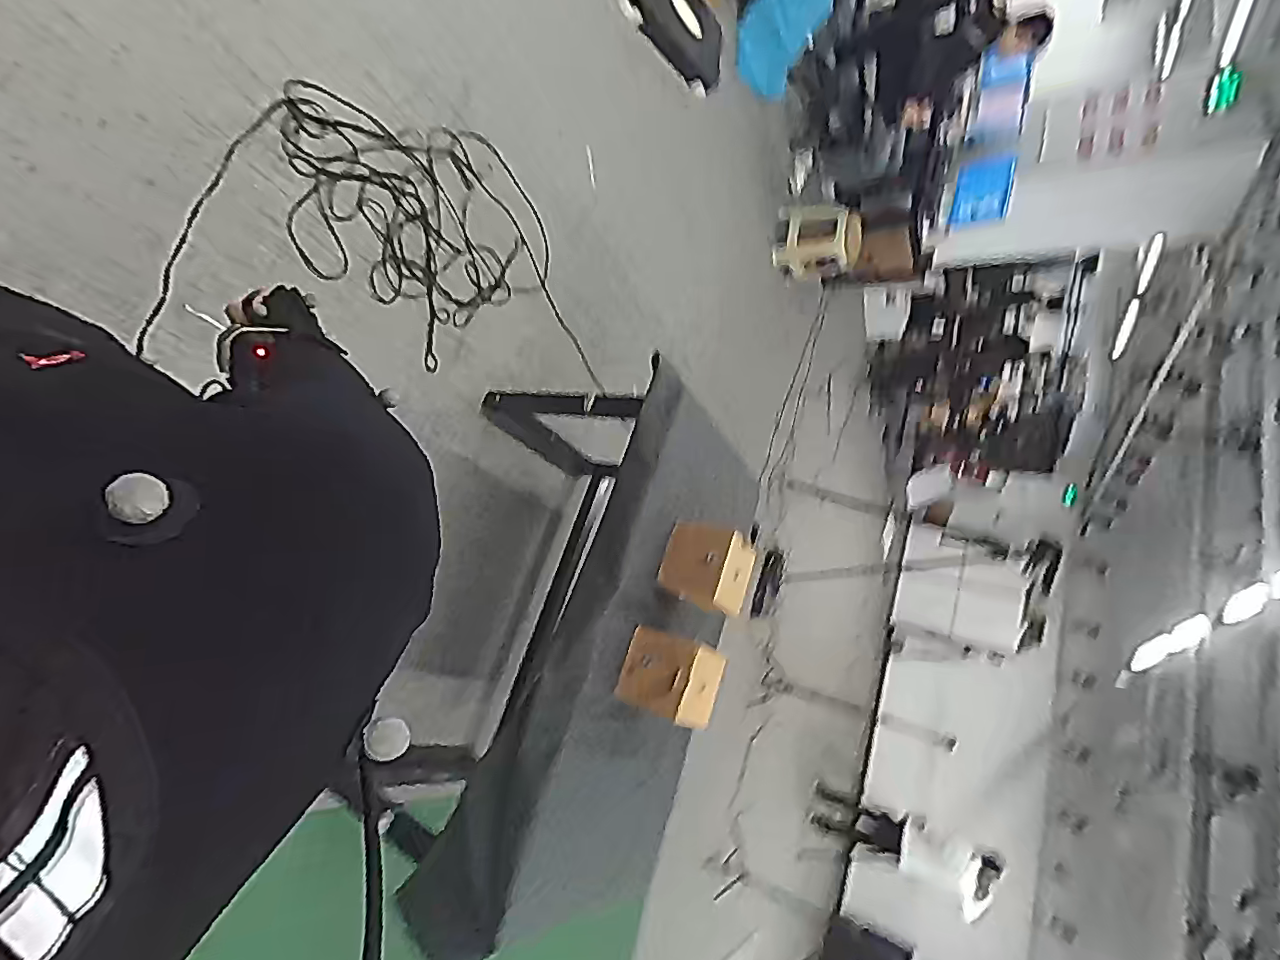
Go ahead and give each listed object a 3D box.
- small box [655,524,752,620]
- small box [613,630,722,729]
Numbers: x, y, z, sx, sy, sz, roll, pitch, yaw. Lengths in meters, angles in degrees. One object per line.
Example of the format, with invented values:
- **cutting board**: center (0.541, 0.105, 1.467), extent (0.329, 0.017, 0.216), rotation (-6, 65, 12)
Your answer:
- **small box**: center (0.159, 0.225, 1.352), extent (0.168, 0.176, 0.179), rotation (44, 62, -50)
- **small box**: center (0.067, 0.465, 1.267), extent (0.179, 0.176, 0.168), rotation (44, 62, -51)
